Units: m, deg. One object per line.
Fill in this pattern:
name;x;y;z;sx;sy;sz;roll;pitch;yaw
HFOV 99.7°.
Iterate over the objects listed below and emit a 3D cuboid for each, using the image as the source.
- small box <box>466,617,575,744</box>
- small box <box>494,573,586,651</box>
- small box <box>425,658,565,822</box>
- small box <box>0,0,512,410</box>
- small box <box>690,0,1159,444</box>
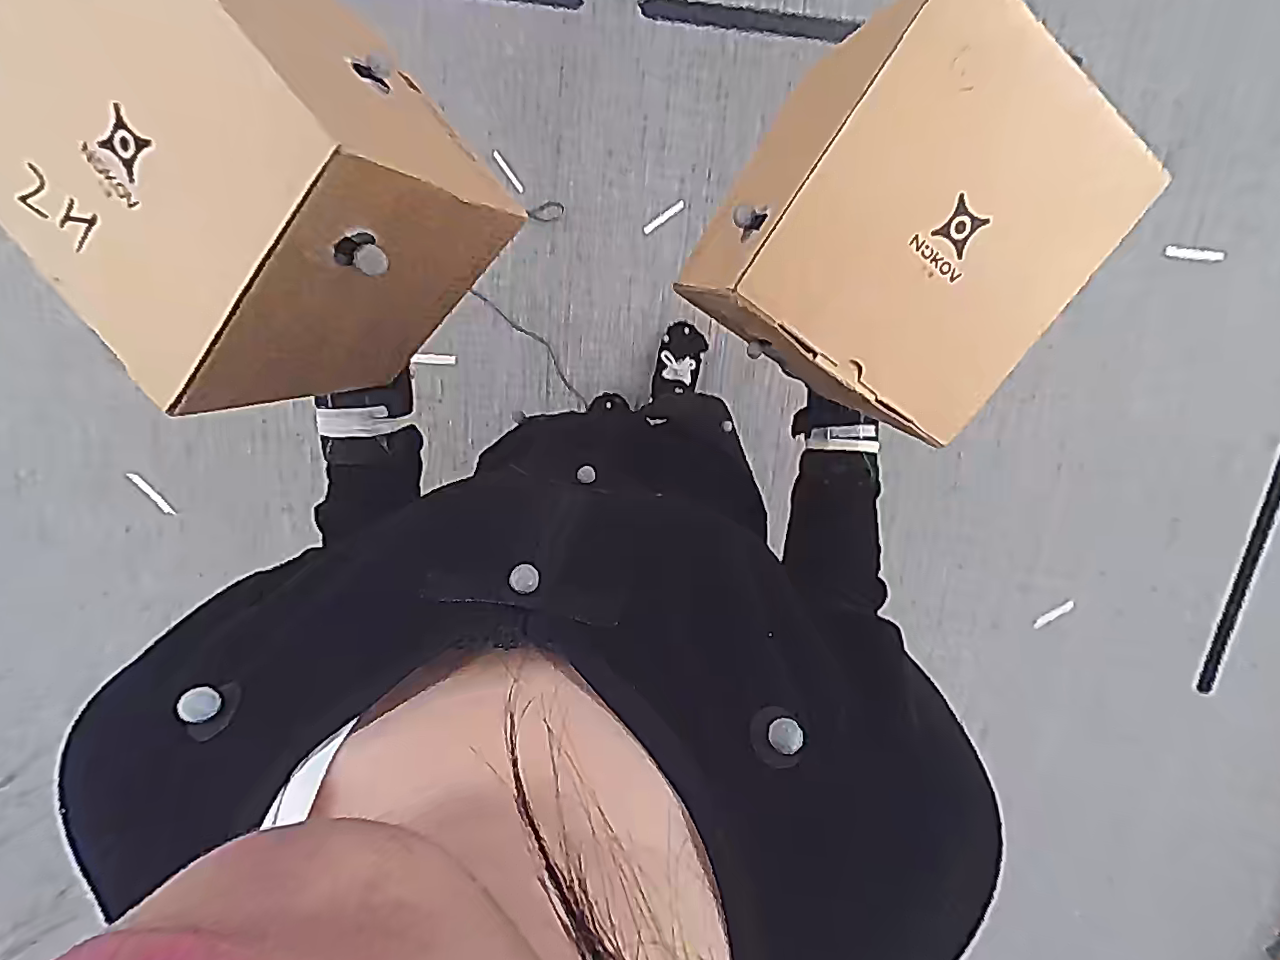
small box;-0.216;0.370;1.021;0.168;0.176;0.179;-2;103;1
small box;-0.221;0.320;1.176;0.179;0.176;0.168;13;102;-2
small box;-0.222;0.401;0.860;0.179;0.176;0.168;4;102;0
small box;-0.202;-0.168;0.319;0.179;0.176;0.168;-39;92;22
small box;0.153;-0.157;0.356;0.168;0.176;0.179;29;105;-18
